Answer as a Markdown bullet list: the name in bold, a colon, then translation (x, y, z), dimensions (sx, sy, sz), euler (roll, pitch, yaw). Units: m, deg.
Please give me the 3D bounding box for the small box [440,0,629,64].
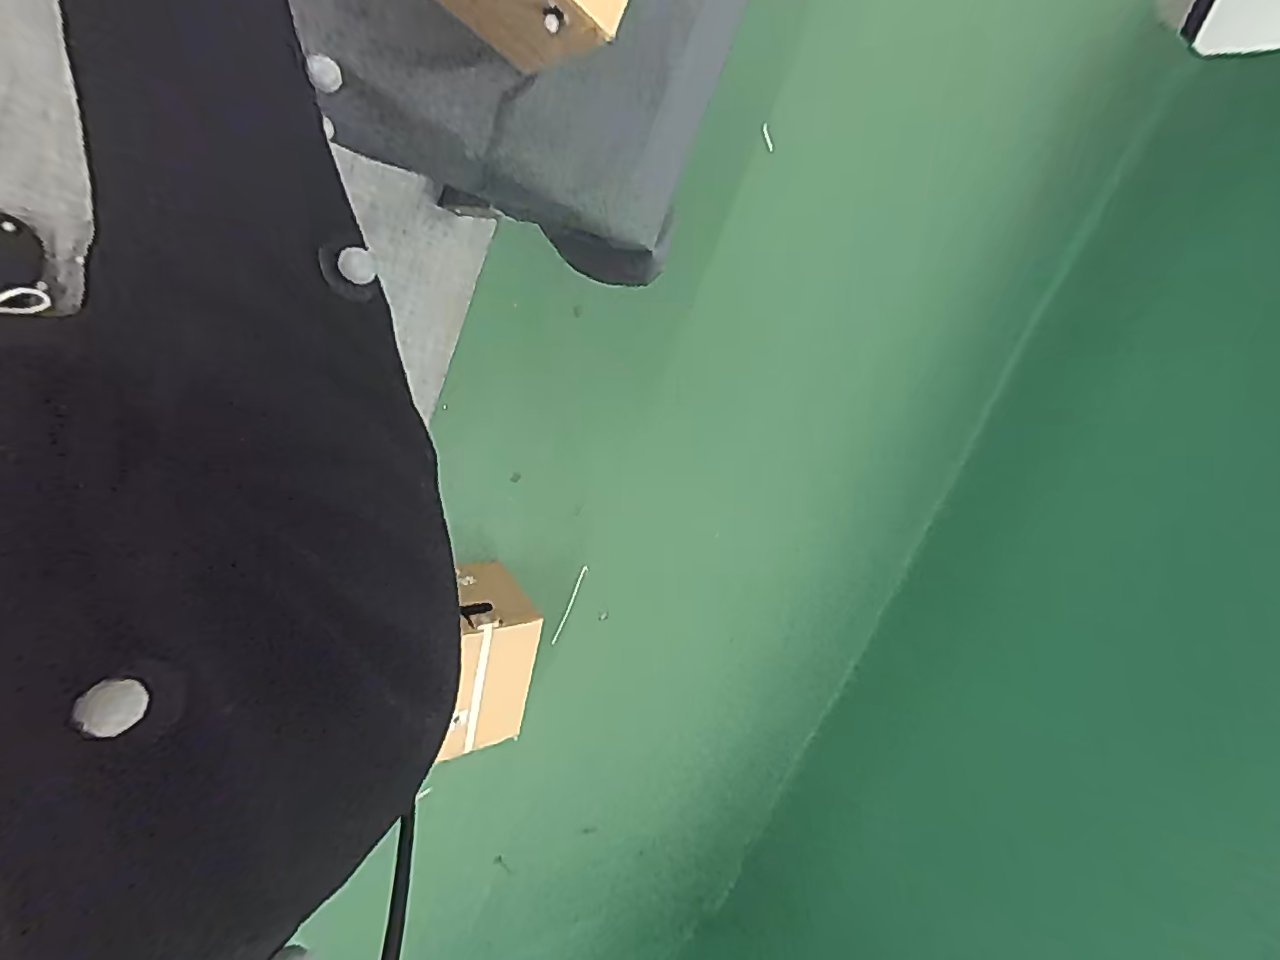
- **small box**: translation (-0.097, -0.464, 0.413), dimensions (0.179, 0.176, 0.168), euler (16, 102, -43)
